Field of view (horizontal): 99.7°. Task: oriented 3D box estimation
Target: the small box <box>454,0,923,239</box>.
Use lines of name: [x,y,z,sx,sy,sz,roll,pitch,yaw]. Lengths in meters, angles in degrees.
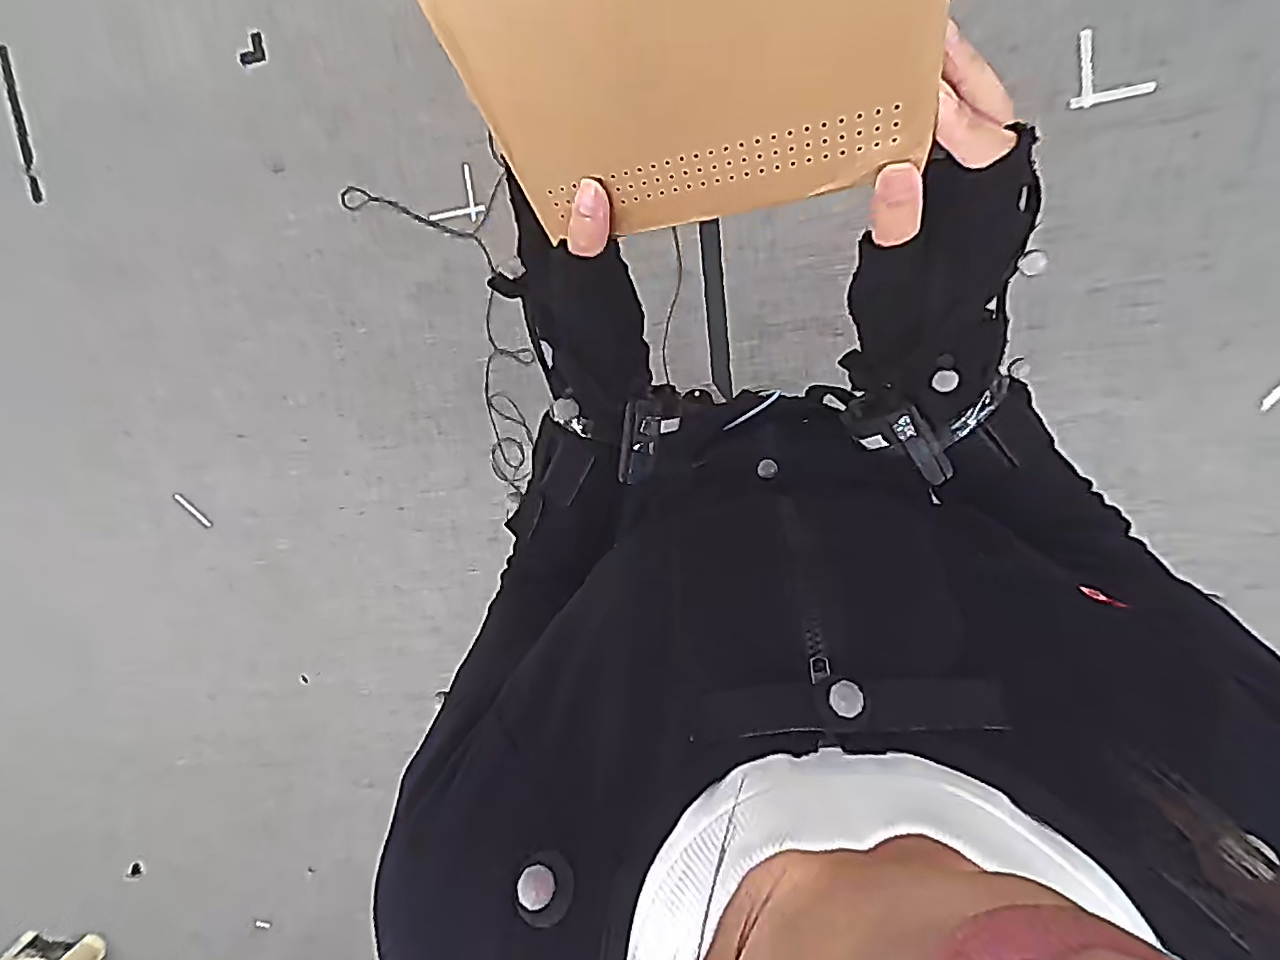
small box: [0.024,-0.235,0.238,0.179,0.176,0.168,-1,62,21]
